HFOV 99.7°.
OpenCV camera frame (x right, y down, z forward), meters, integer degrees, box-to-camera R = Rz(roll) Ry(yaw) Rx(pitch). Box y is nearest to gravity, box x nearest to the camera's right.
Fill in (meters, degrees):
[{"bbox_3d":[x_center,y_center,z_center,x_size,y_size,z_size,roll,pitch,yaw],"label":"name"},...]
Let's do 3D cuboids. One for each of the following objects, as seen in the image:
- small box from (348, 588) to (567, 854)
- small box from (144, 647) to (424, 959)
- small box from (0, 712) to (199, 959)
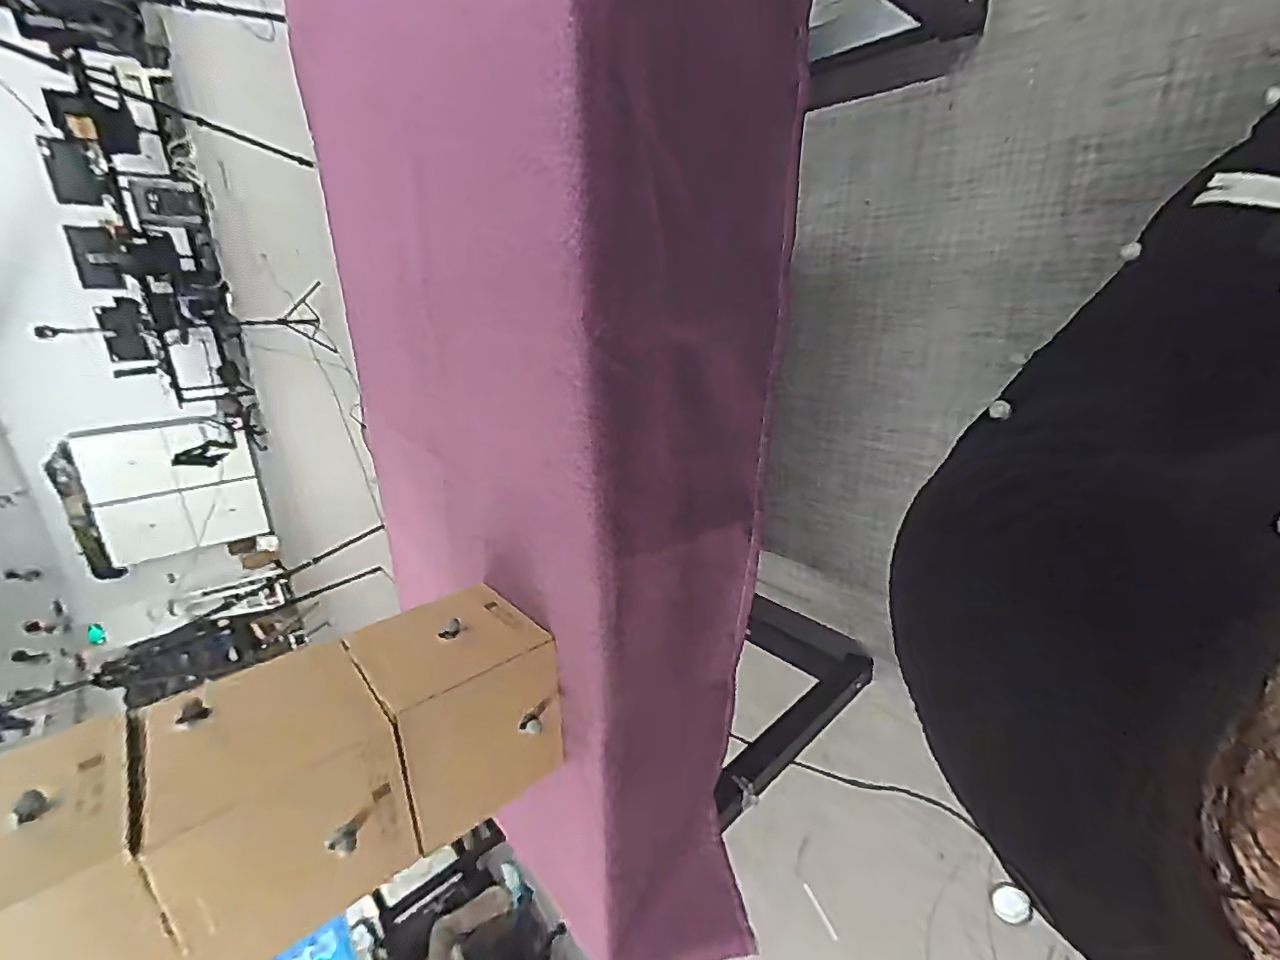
[{"bbox_3d":[-0.195,0.244,0.599,0.168,0.176,0.179,18,116,45],"label":"small box"},{"bbox_3d":[-0.320,0.281,0.497,0.179,0.176,0.168,20,119,43],"label":"small box"},{"bbox_3d":[-0.441,0.314,0.391,0.168,0.176,0.179,22,119,43],"label":"small box"}]
